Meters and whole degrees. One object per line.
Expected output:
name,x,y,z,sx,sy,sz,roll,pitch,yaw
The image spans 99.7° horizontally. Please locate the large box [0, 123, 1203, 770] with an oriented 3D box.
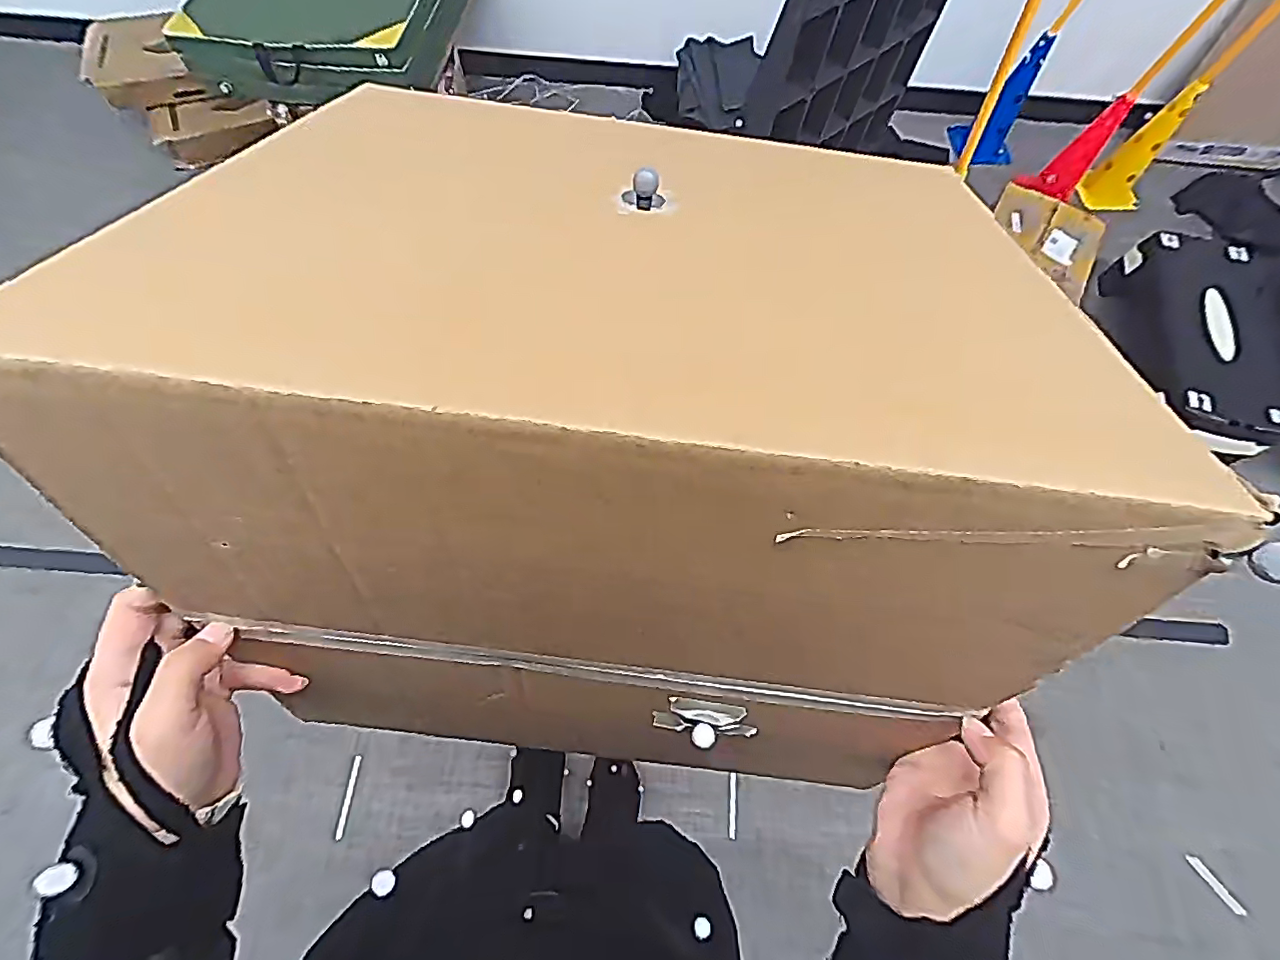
large box,-0.017,-0.020,0.382,0.408,0.320,0.320,6,49,-1
